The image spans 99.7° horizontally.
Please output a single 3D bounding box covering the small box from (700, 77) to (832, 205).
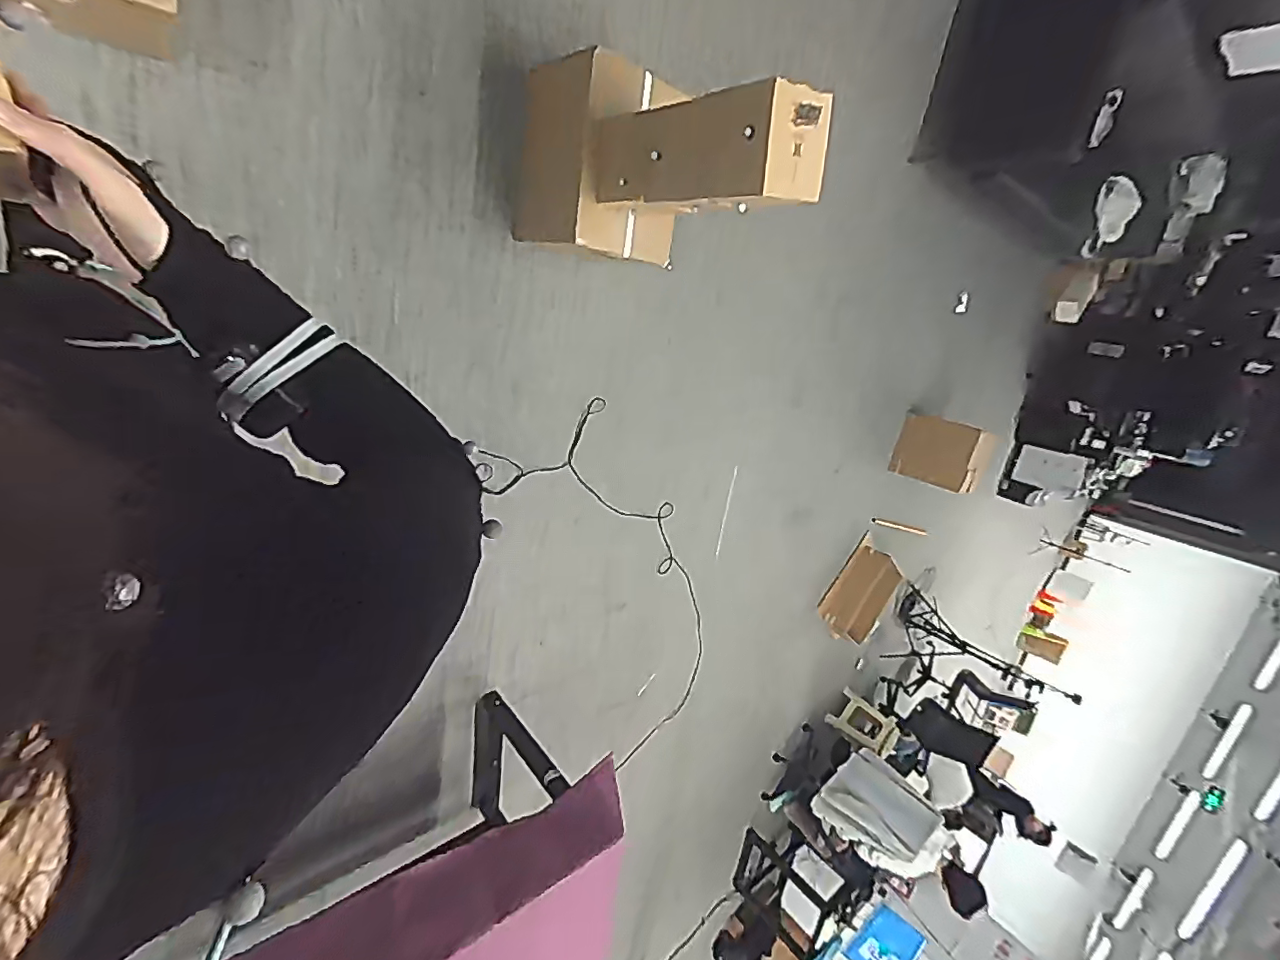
[{"bbox_3d":[0.230,-0.623,1.018,0.168,0.176,0.179,-16,120,-35],"label":"small box"}]

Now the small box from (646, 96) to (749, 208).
[{"bbox_3d":[0.128,-0.676,1.136,0.168,0.176,0.179,-15,119,-36],"label":"small box"}]

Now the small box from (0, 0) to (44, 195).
[{"bbox_3d":[-0.445,-0.264,0.273,0.168,0.176,0.179,-15,113,-45],"label":"small box"}]

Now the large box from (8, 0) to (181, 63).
[{"bbox_3d":[-0.848,-0.885,0.731,0.320,0.320,0.408,-6,112,-40],"label":"large box"}]
